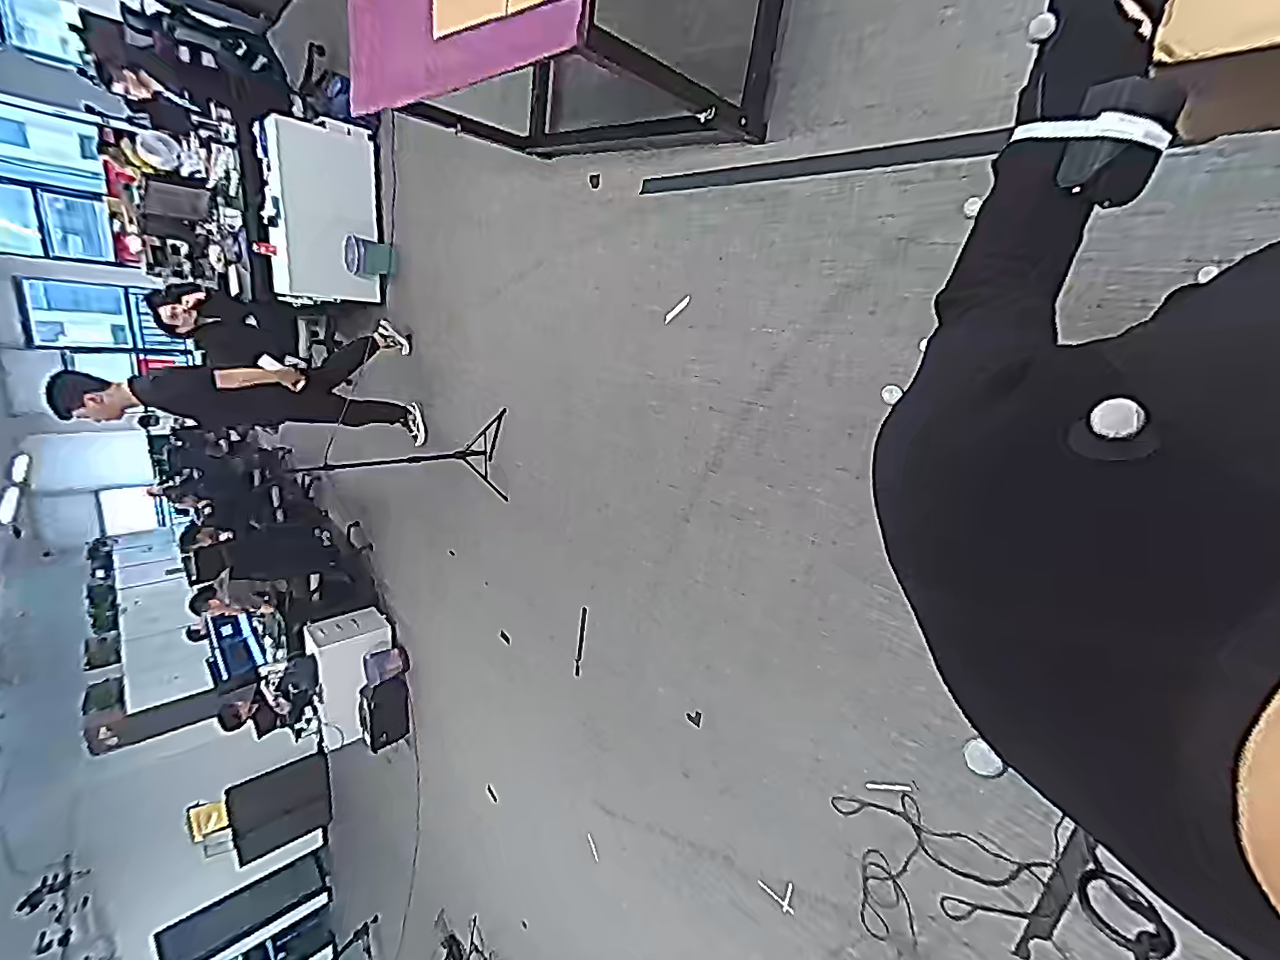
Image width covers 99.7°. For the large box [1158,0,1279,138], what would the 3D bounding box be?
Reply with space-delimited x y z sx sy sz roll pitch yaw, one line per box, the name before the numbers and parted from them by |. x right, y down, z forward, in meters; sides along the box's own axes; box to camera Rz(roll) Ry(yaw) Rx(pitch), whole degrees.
large box | 0.584 -0.405 0.273 0.408 0.320 0.320 20 120 41
